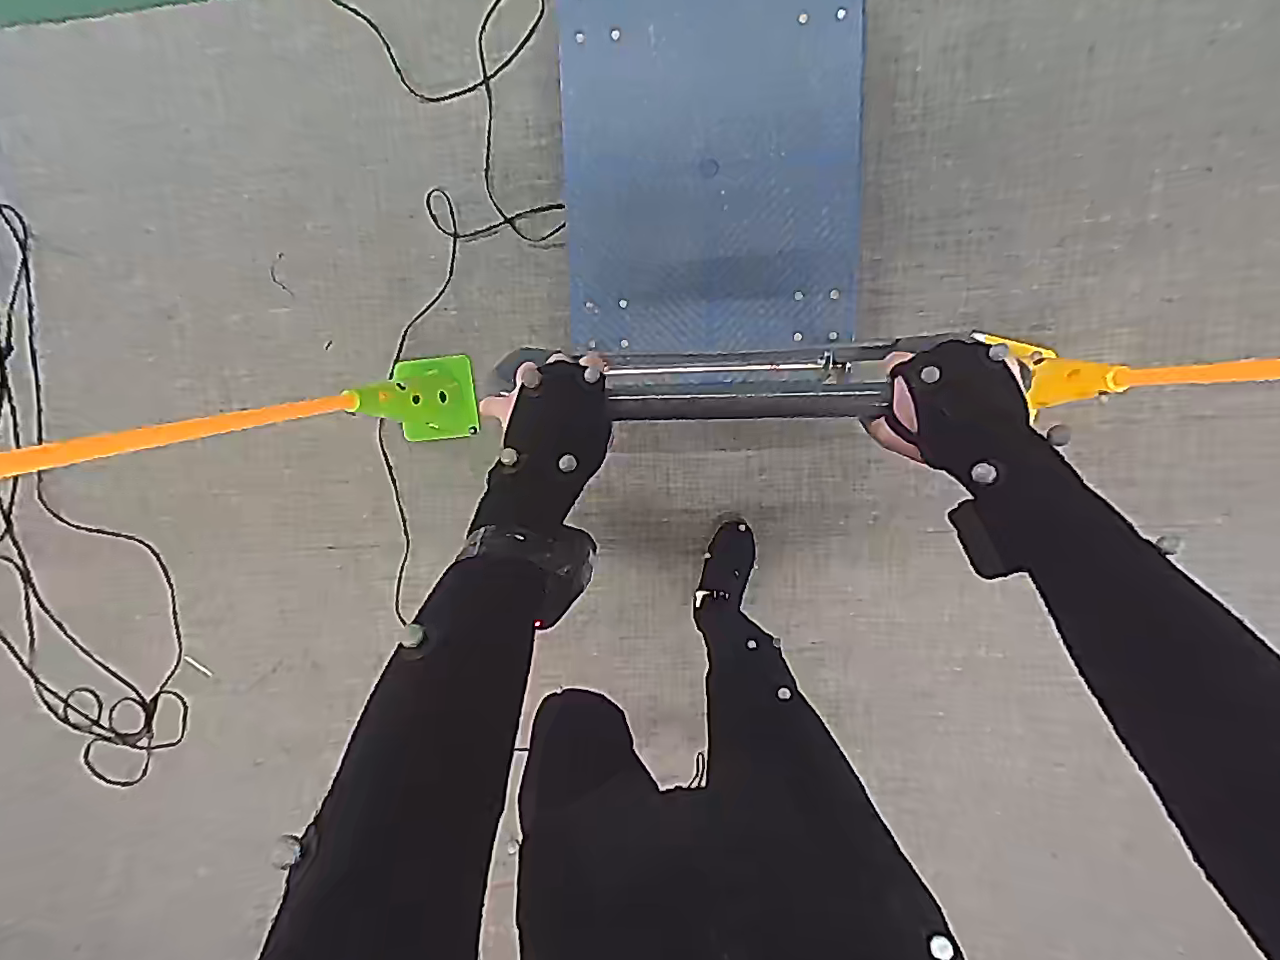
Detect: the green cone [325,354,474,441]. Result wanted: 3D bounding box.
[{"bbox_3d":[-0.536,-0.178,1.168,0.202,0.368,0.200,-6,98,8],"label":"green cone"}]
